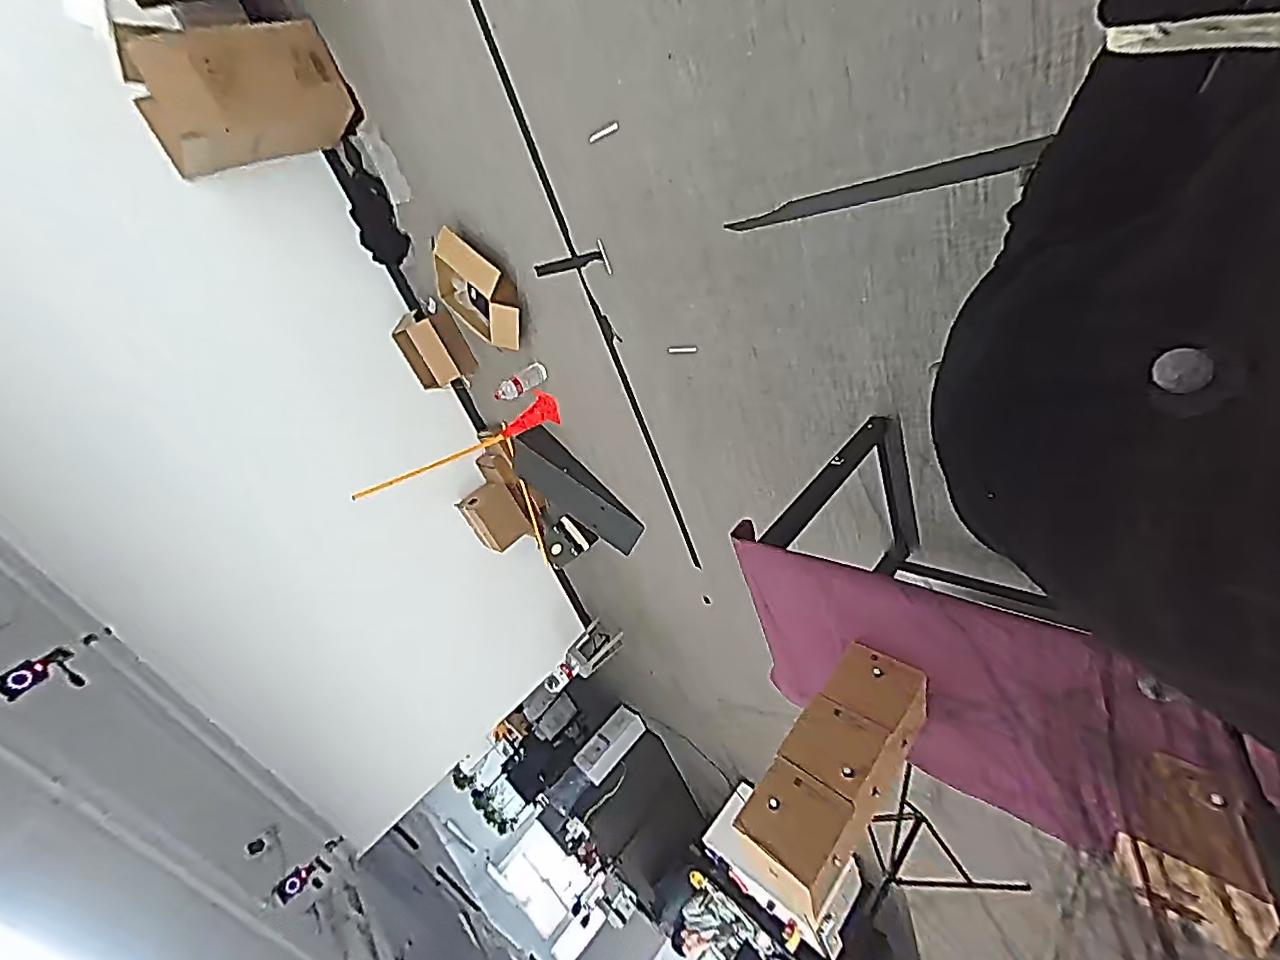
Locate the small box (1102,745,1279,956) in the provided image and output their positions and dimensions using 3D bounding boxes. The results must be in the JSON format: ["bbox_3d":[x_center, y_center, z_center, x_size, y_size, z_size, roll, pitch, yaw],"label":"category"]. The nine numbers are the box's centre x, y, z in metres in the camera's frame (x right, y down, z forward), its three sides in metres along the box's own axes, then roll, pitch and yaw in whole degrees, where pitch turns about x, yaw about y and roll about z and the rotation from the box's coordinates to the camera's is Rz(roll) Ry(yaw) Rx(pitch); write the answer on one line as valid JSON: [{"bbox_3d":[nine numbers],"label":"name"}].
[{"bbox_3d":[0.847,0.557,0.832,0.168,0.176,0.179,15,135,46],"label":"small box"}]

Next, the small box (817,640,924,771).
[{"bbox_3d":[0.522,0.500,1.218,0.168,0.176,0.179,18,137,43],"label":"small box"}]

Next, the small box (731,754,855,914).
[{"bbox_3d":[0.303,0.678,1.053,0.168,0.176,0.179,21,141,43],"label":"small box"}]
